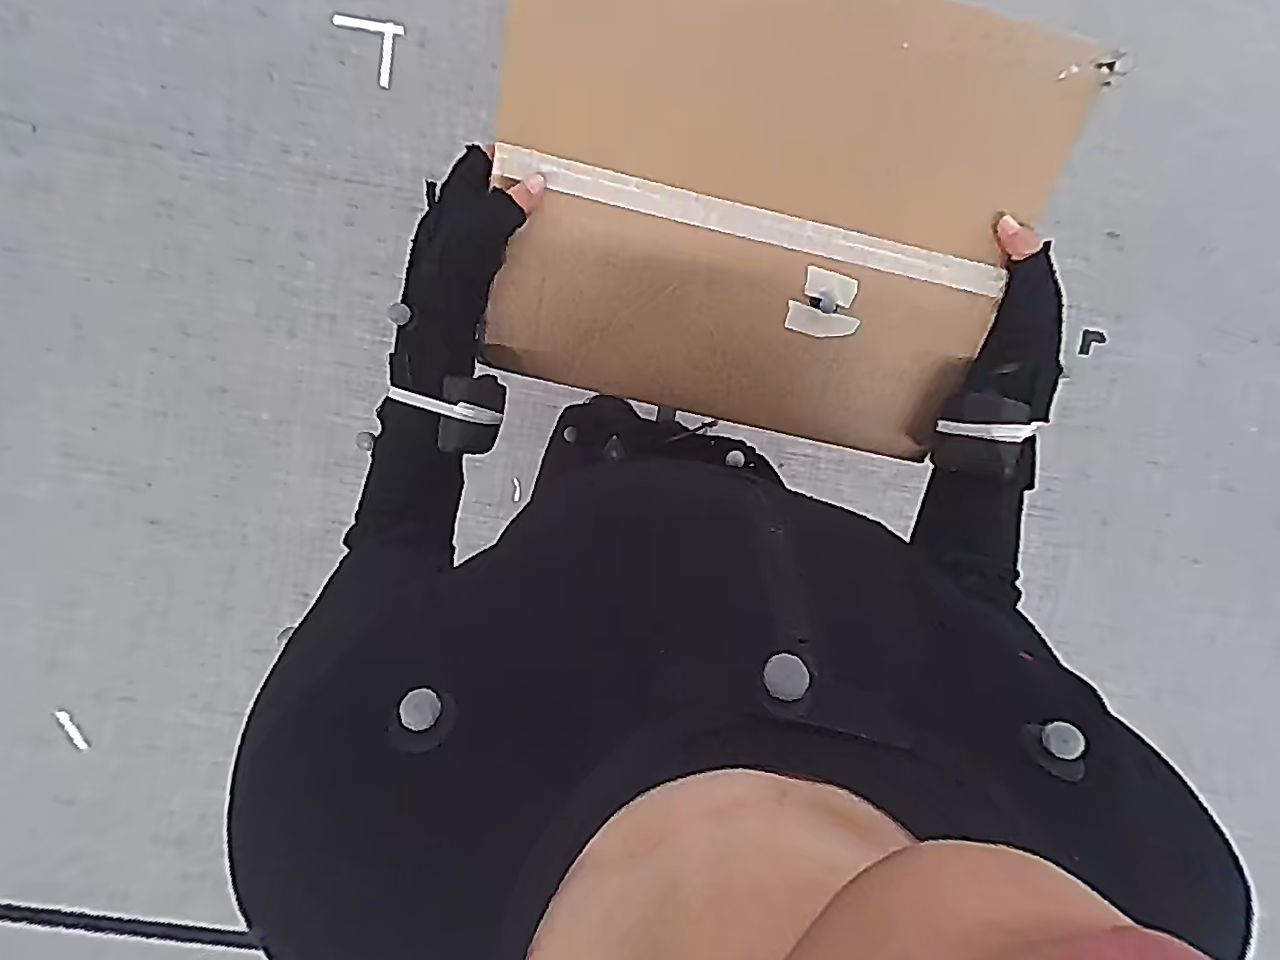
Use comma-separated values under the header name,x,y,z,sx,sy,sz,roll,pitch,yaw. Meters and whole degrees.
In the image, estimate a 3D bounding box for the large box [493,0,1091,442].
name,x,y,z,sx,sy,sz,roll,pitch,yaw
large box,0.093,-0.267,0.558,0.408,0.320,0.320,11,116,-5
